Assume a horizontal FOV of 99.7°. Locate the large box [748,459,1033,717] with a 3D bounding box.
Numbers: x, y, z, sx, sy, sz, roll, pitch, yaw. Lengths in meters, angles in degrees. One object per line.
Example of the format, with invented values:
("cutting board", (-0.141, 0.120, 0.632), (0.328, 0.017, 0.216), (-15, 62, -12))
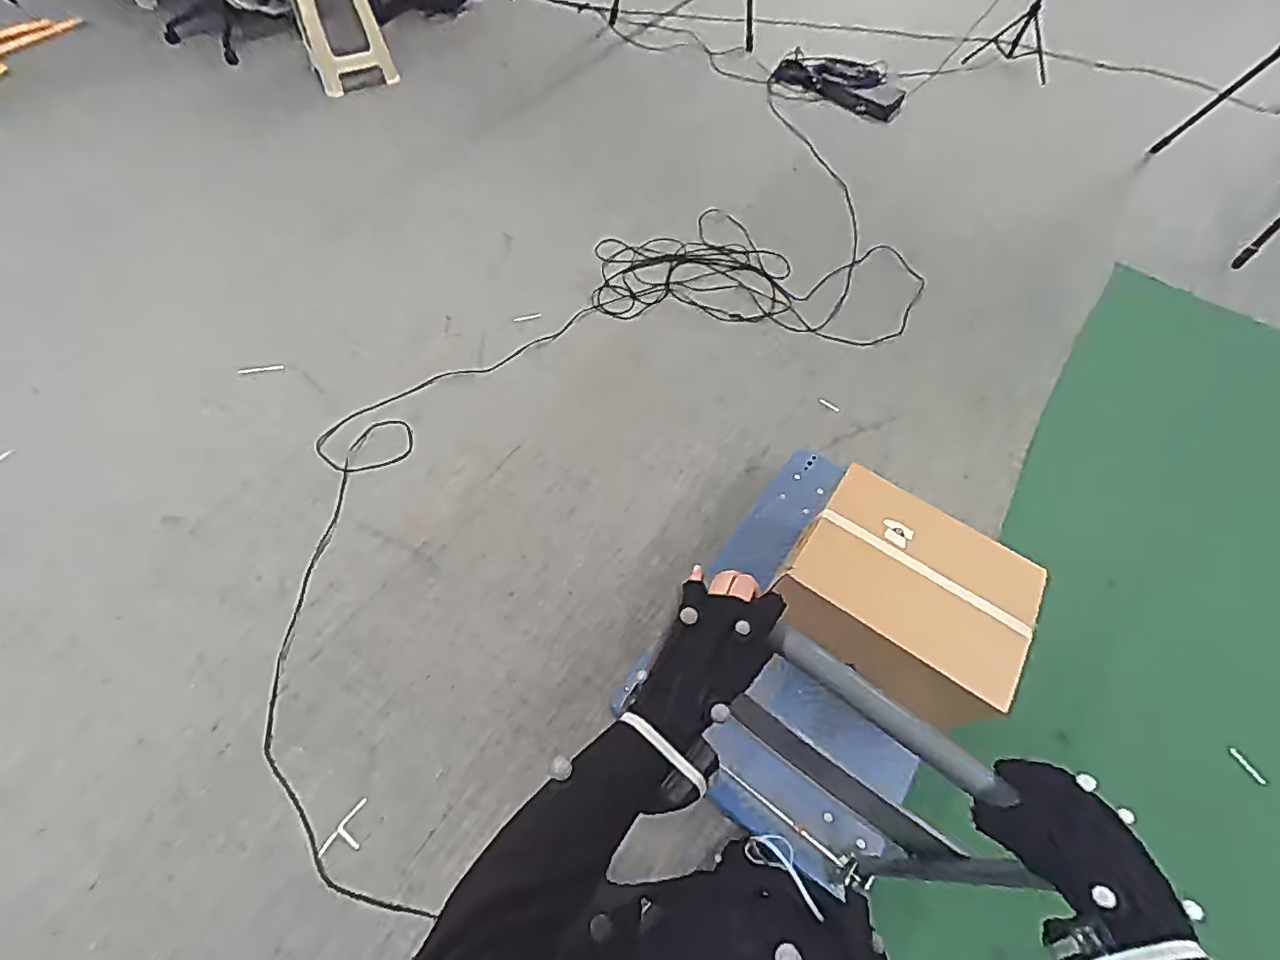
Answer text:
("large box", (0.500, 0.233, 1.141), (0.408, 0.320, 0.320), (32, 61, 15))
